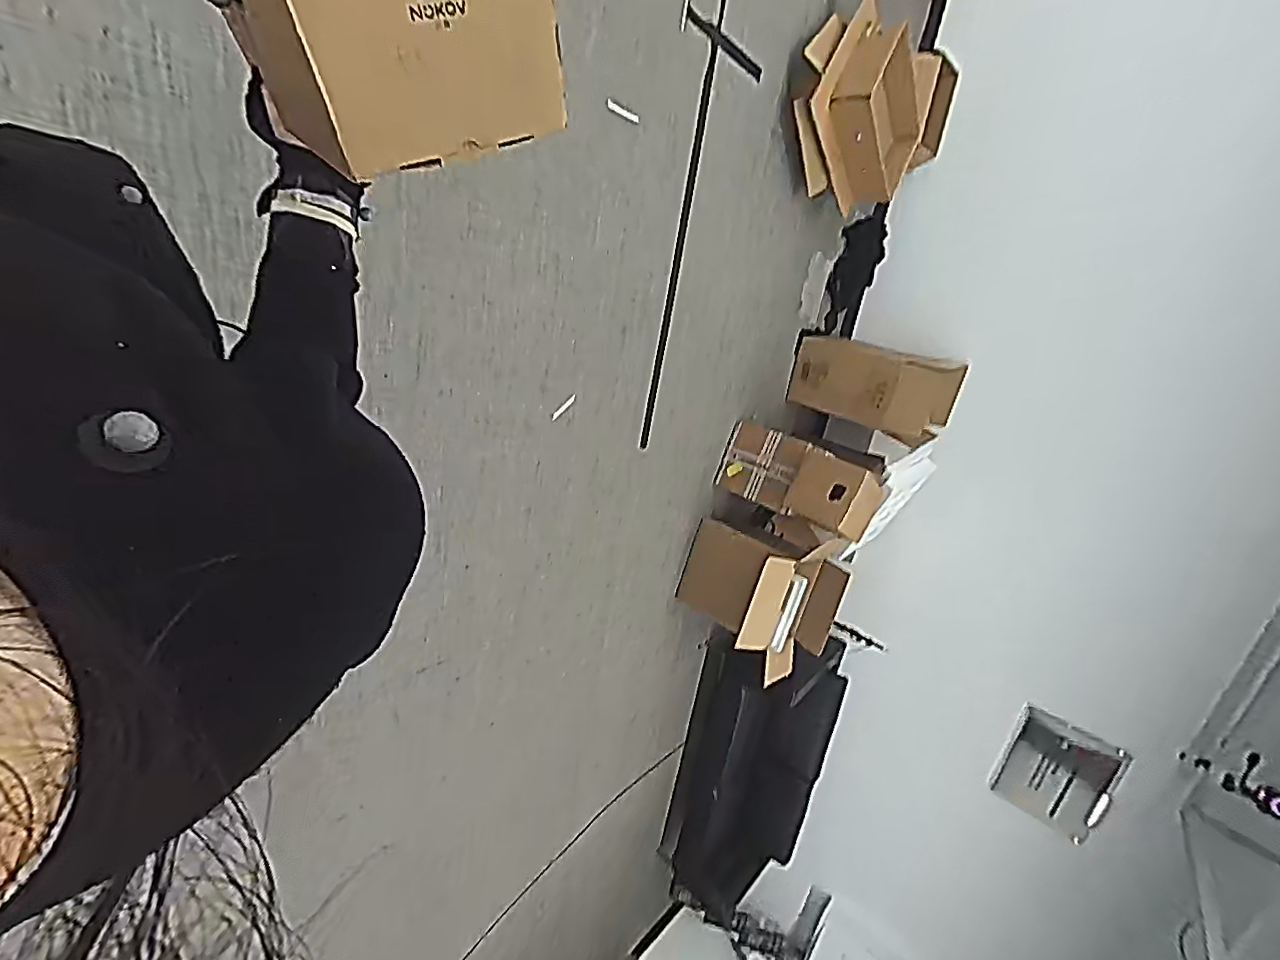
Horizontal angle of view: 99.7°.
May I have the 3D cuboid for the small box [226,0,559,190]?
[{"bbox_3d":[-0.177,-0.332,0.370,0.168,0.176,0.179,-32,144,-25],"label":"small box"}]
